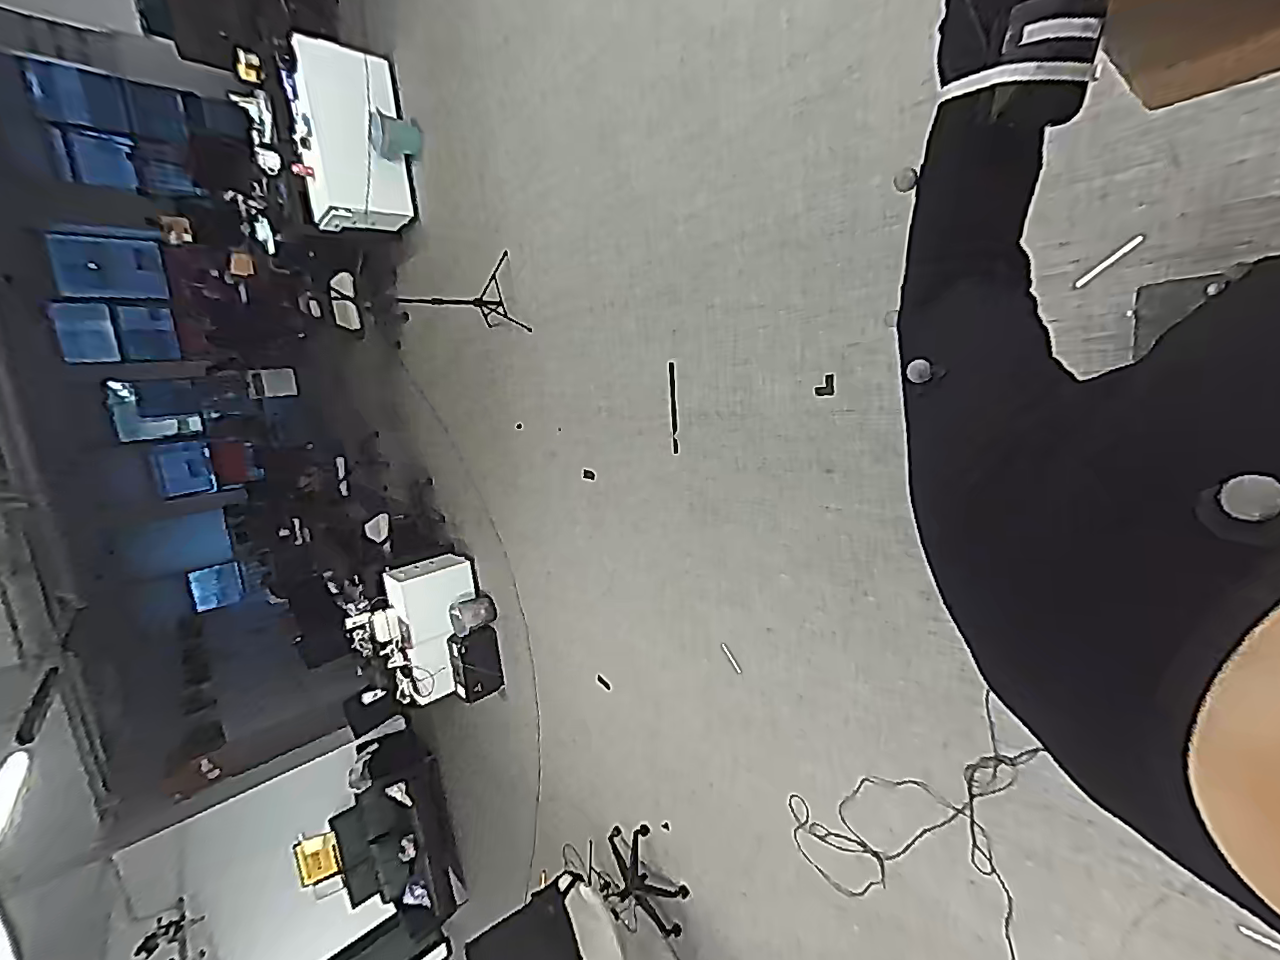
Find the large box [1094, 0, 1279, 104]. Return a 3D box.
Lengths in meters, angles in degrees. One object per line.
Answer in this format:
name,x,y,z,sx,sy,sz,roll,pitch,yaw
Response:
large box,0.498,-0.467,0.258,0.408,0.320,0.320,6,107,49
